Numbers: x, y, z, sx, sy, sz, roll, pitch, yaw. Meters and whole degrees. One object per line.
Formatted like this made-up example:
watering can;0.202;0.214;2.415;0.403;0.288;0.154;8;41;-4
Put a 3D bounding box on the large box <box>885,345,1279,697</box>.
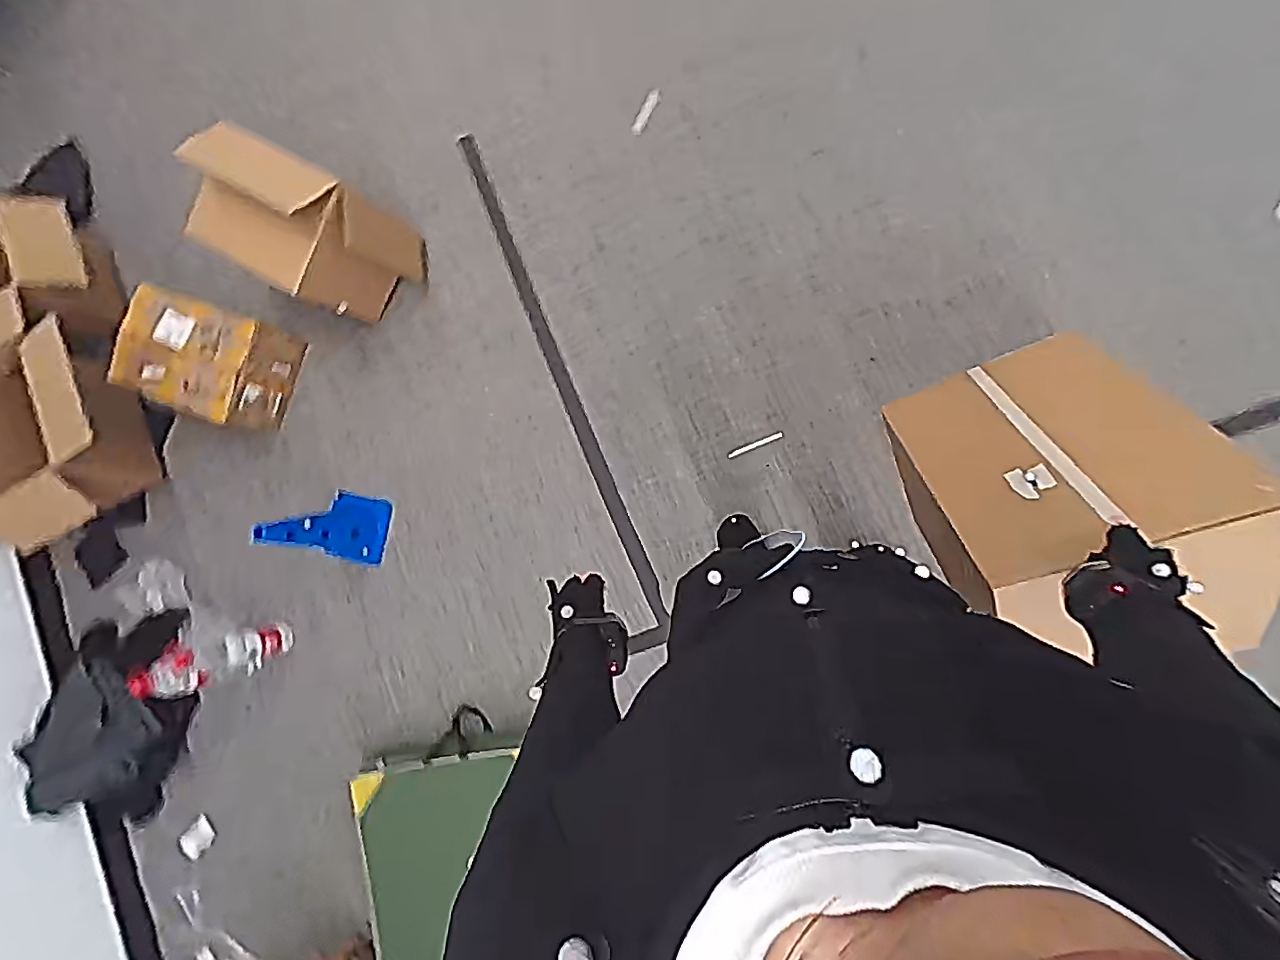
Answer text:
large box;0.637;0.060;0.855;0.320;0.320;0.408;-22;38;18
